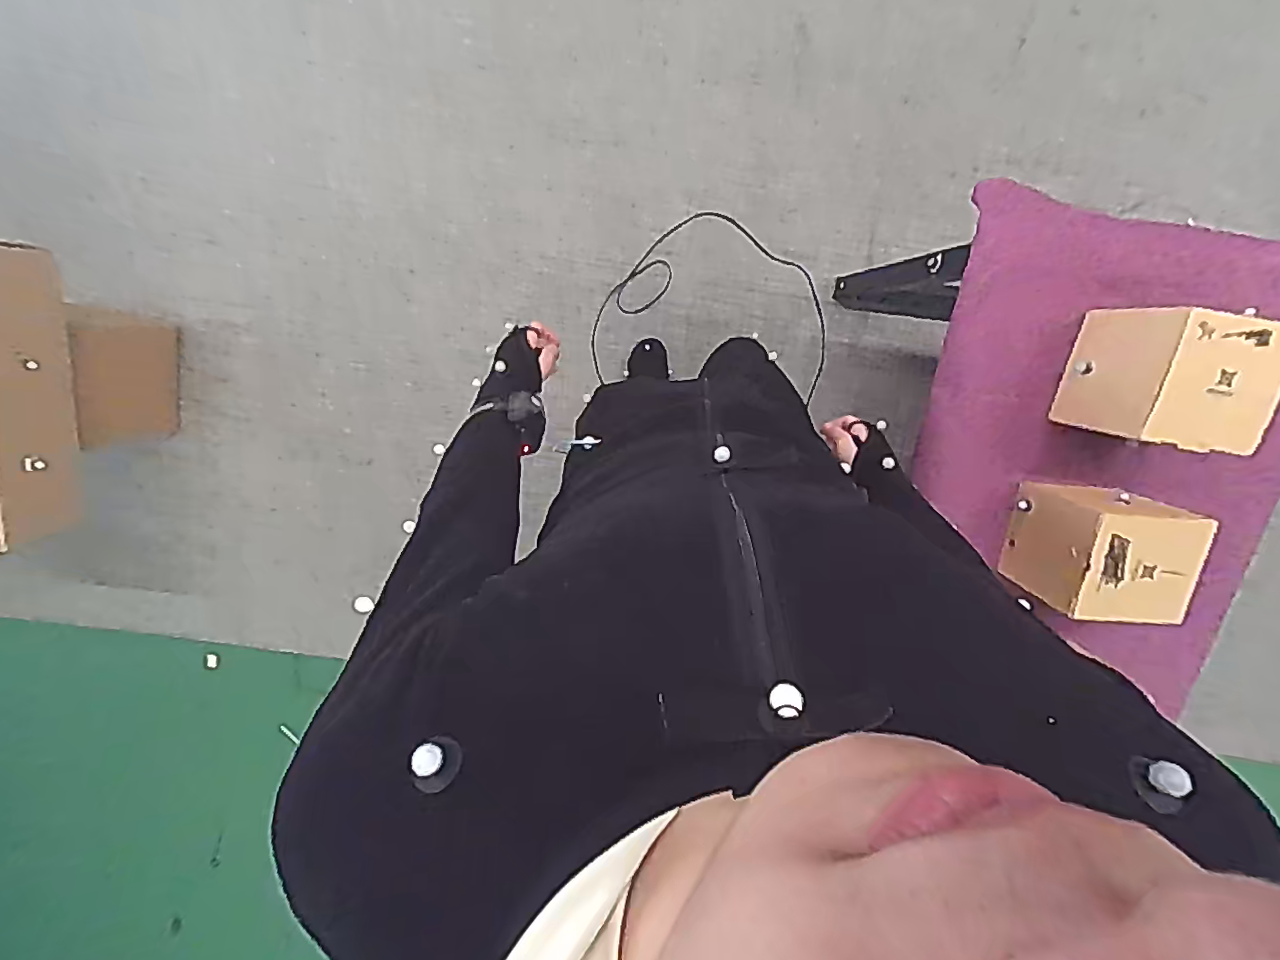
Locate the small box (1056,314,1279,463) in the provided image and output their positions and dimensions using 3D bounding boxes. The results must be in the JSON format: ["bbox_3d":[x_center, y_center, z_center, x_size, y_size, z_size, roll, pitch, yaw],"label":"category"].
[{"bbox_3d":[0.762,-0.139,0.787,0.168,0.176,0.179,8,105,-4],"label":"small box"}]

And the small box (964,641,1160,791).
[{"bbox_3d":[0.706,0.395,0.926,0.179,0.176,0.168,7,104,-3],"label":"small box"}]

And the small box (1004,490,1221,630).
[{"bbox_3d":[0.725,0.117,0.854,0.179,0.176,0.168,3,105,-3],"label":"small box"}]
